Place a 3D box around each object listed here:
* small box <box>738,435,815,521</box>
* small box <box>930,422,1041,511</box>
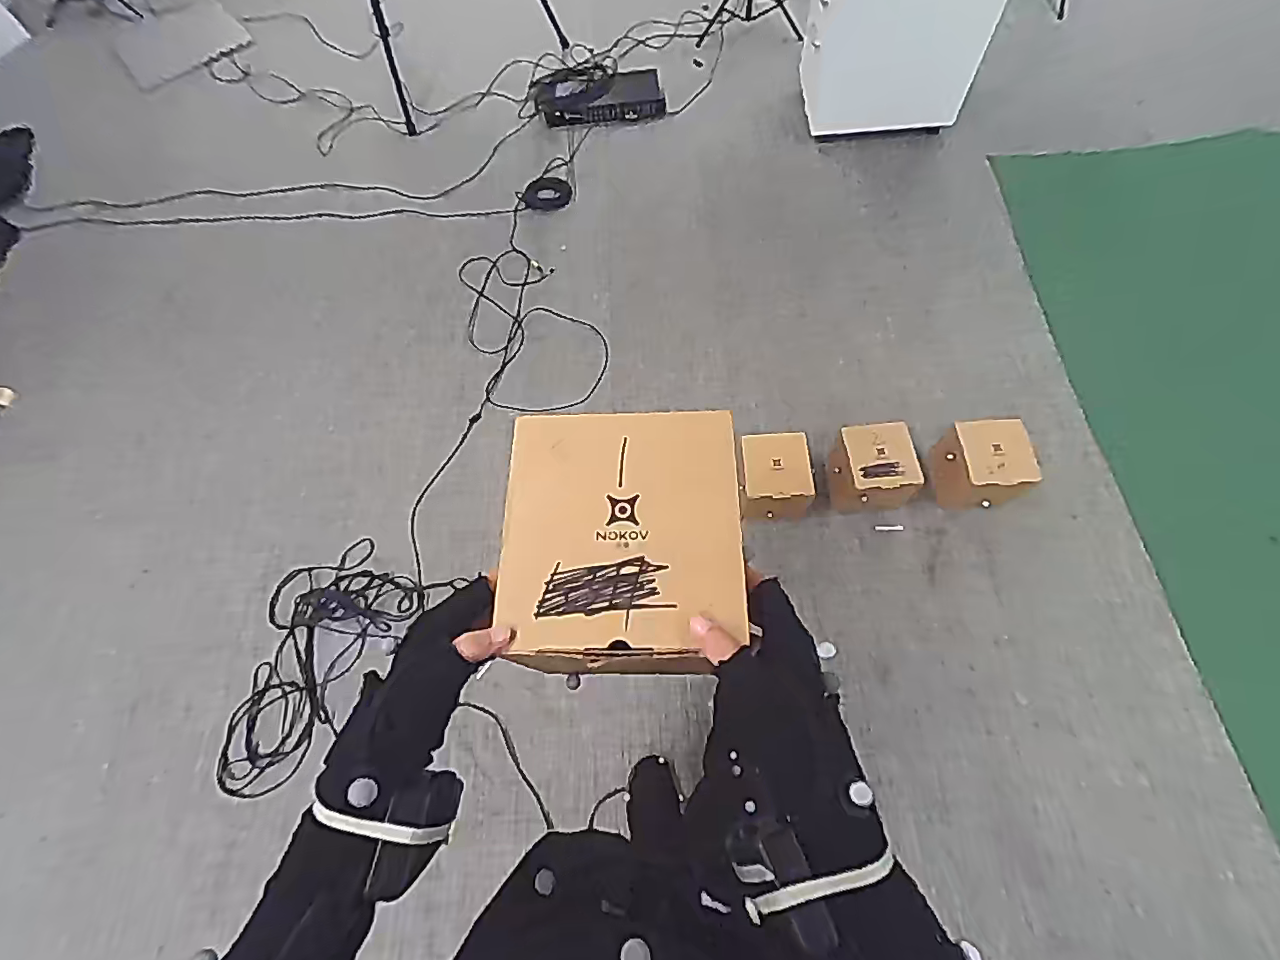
[{"bbox_3d":[0.354,-0.002,1.434,0.168,0.176,0.179,-3,66,4],"label":"small box"},{"bbox_3d":[0.882,-0.033,1.402,0.168,0.176,0.179,-3,66,4],"label":"small box"}]
